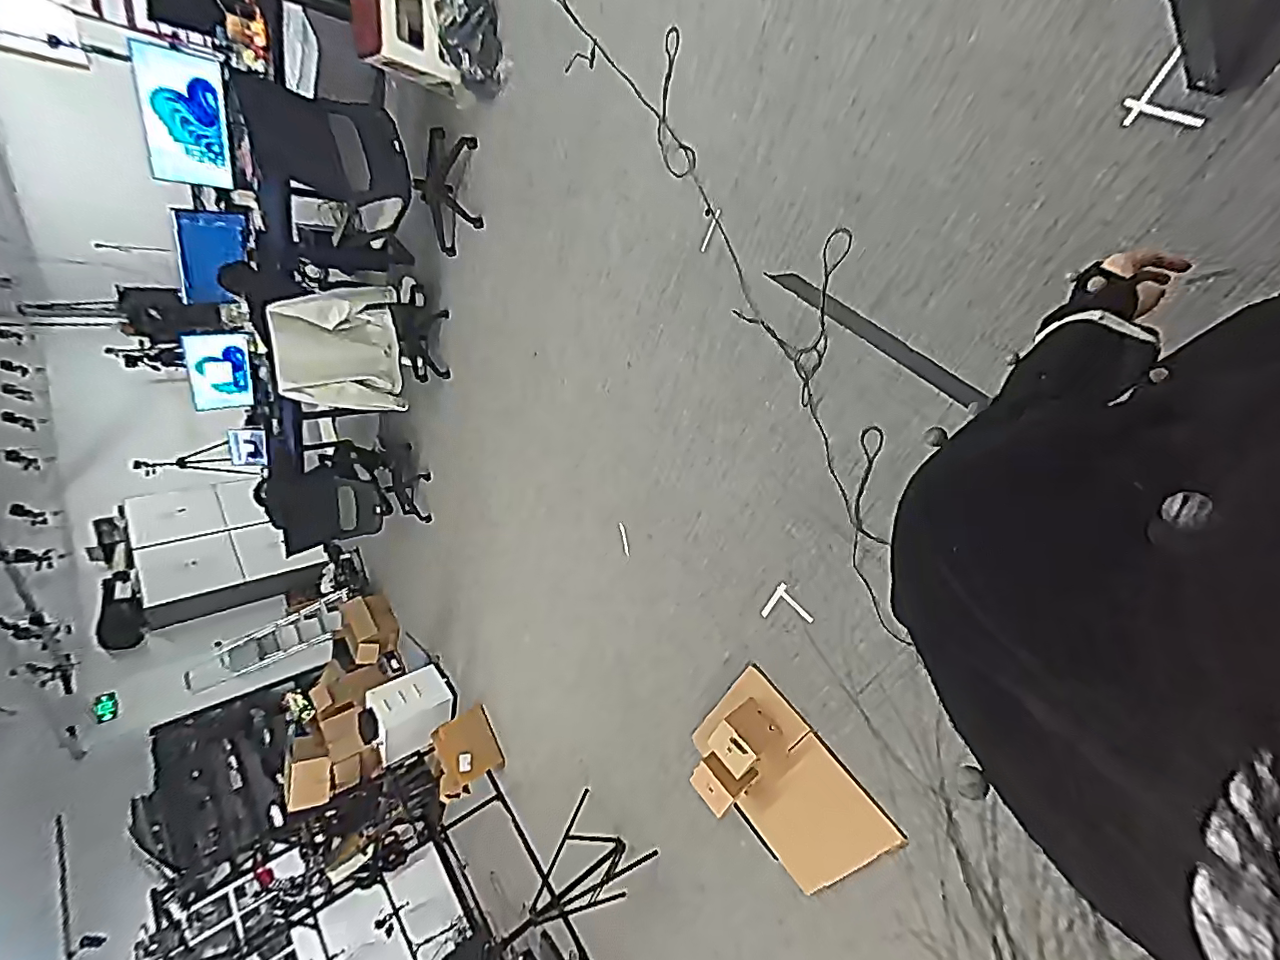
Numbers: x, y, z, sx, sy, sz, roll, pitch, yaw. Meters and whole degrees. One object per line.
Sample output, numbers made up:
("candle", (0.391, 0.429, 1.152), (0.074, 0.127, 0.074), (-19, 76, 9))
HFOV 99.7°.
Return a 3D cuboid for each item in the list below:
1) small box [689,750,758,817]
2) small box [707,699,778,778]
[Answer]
("small box", (0.328, 1.170, 2.134), (0.179, 0.176, 0.168), (41, 130, 32))
("small box", (0.384, 0.952, 2.003), (0.168, 0.176, 0.179), (44, 131, 31))
